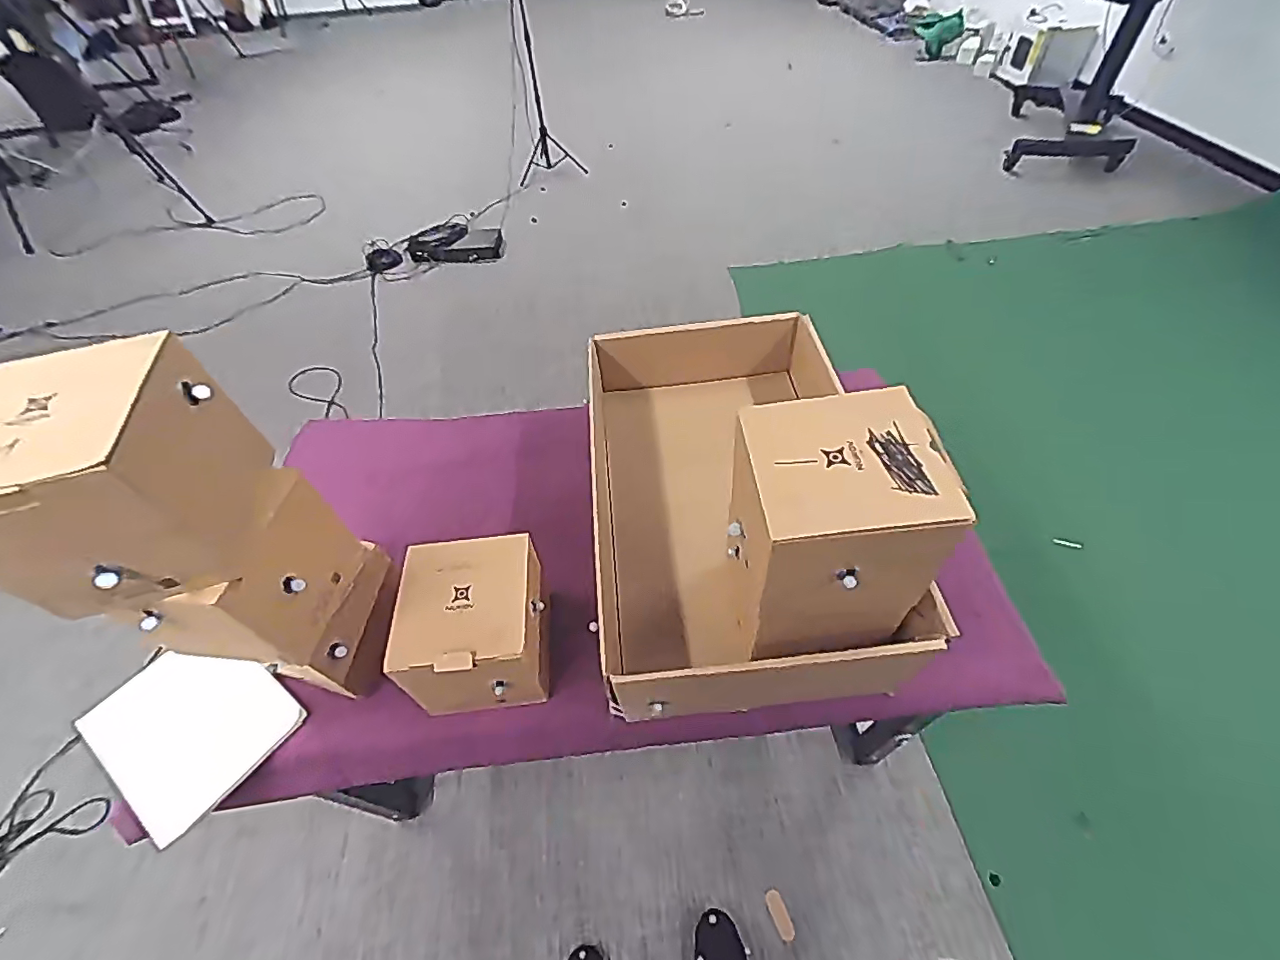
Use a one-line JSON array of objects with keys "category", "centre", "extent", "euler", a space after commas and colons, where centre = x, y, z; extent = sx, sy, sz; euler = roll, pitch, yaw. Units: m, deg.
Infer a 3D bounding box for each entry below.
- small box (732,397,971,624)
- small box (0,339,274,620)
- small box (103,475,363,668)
[{"category": "small box", "centre": [0.198, 0.037, 0.570], "extent": [0.179, 0.176, 0.168], "euler": [-7, 50, 2]}, {"category": "small box", "centre": [-0.479, 0.001, 0.502], "extent": [0.168, 0.176, 0.179], "euler": [-14, 51, -6]}, {"category": "small box", "centre": [-0.463, 0.106, 0.628], "extent": [0.179, 0.176, 0.168], "euler": [3, 51, 7]}]
